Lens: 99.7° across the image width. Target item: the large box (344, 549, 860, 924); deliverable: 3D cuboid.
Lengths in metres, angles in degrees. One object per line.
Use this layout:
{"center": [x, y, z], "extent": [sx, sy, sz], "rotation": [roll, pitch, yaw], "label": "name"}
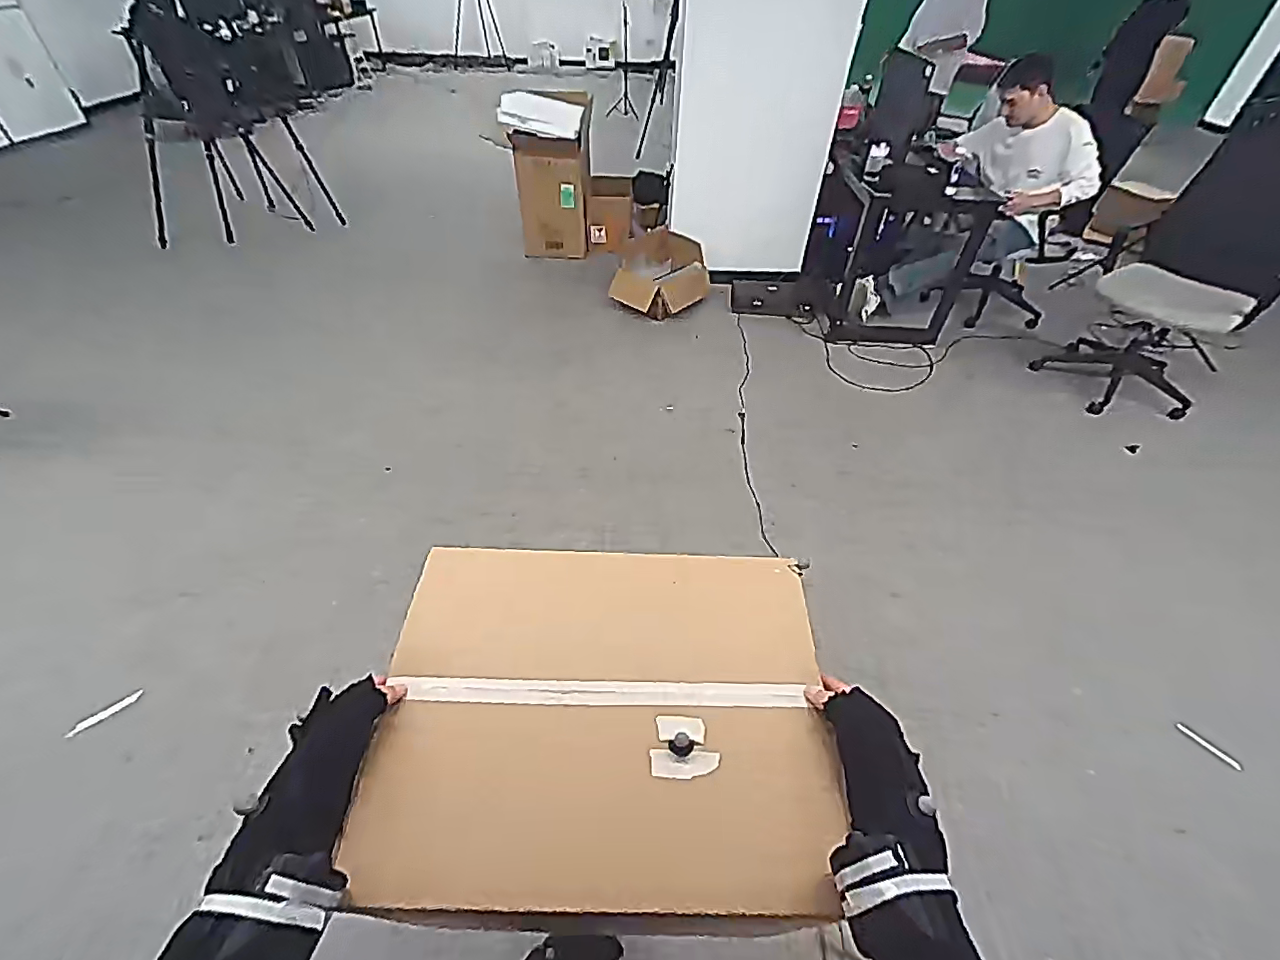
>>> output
{"center": [-0.034, 0.296, 0.618], "extent": [0.408, 0.320, 0.320], "rotation": [3, 48, -1], "label": "large box"}
